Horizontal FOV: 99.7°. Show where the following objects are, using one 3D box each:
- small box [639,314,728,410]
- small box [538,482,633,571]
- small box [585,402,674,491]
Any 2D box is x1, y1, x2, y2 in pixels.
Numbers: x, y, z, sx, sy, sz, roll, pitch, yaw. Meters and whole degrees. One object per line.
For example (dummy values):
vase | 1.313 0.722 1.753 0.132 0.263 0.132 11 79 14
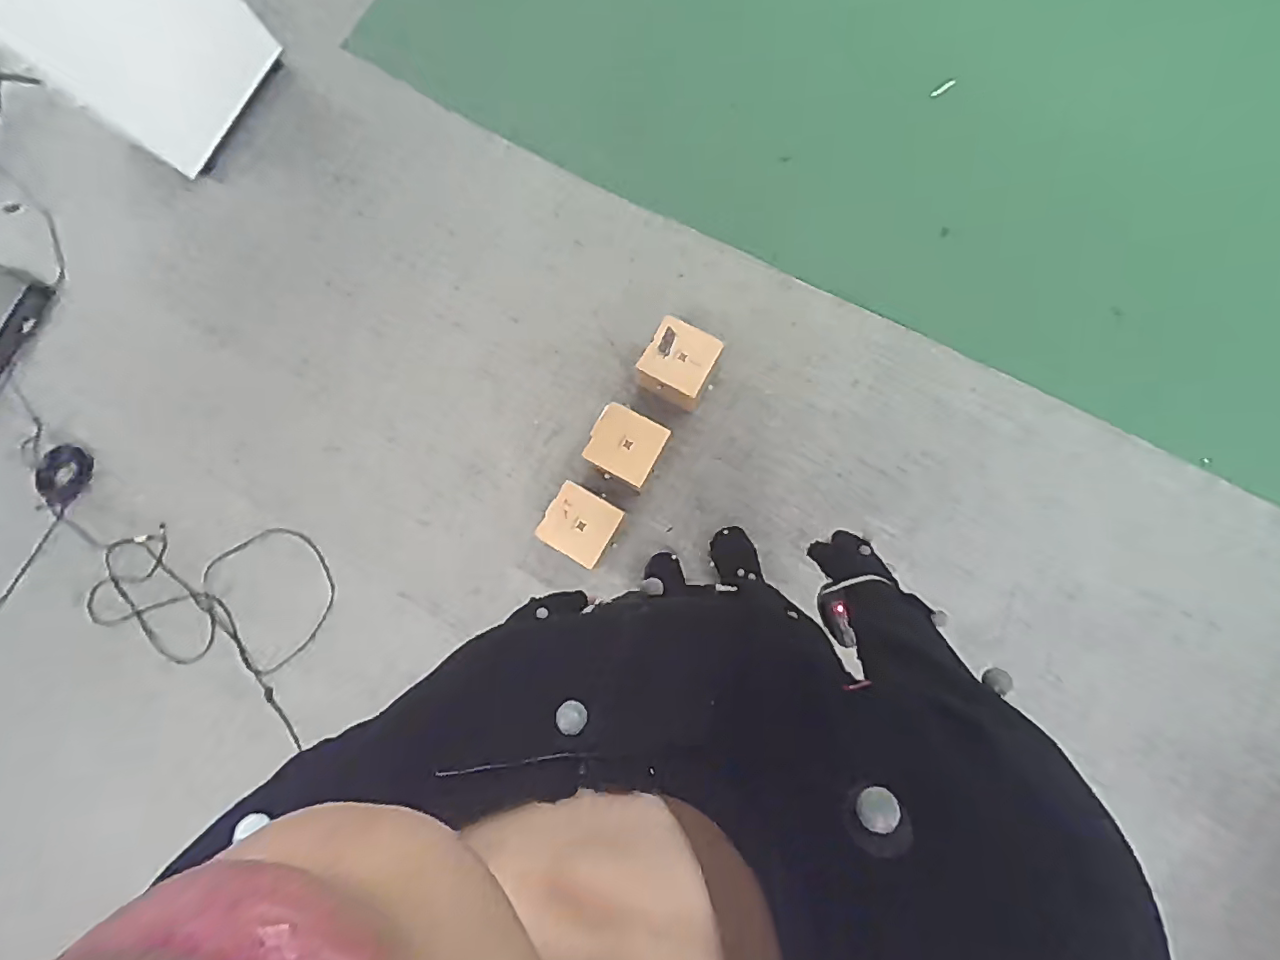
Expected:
small box | 0.115 -0.307 1.448 0.179 0.176 0.168 28 87 7
small box | -0.133 0.121 1.418 0.179 0.176 0.168 30 86 8
small box | -0.019 -0.080 1.434 0.179 0.176 0.168 28 86 8
